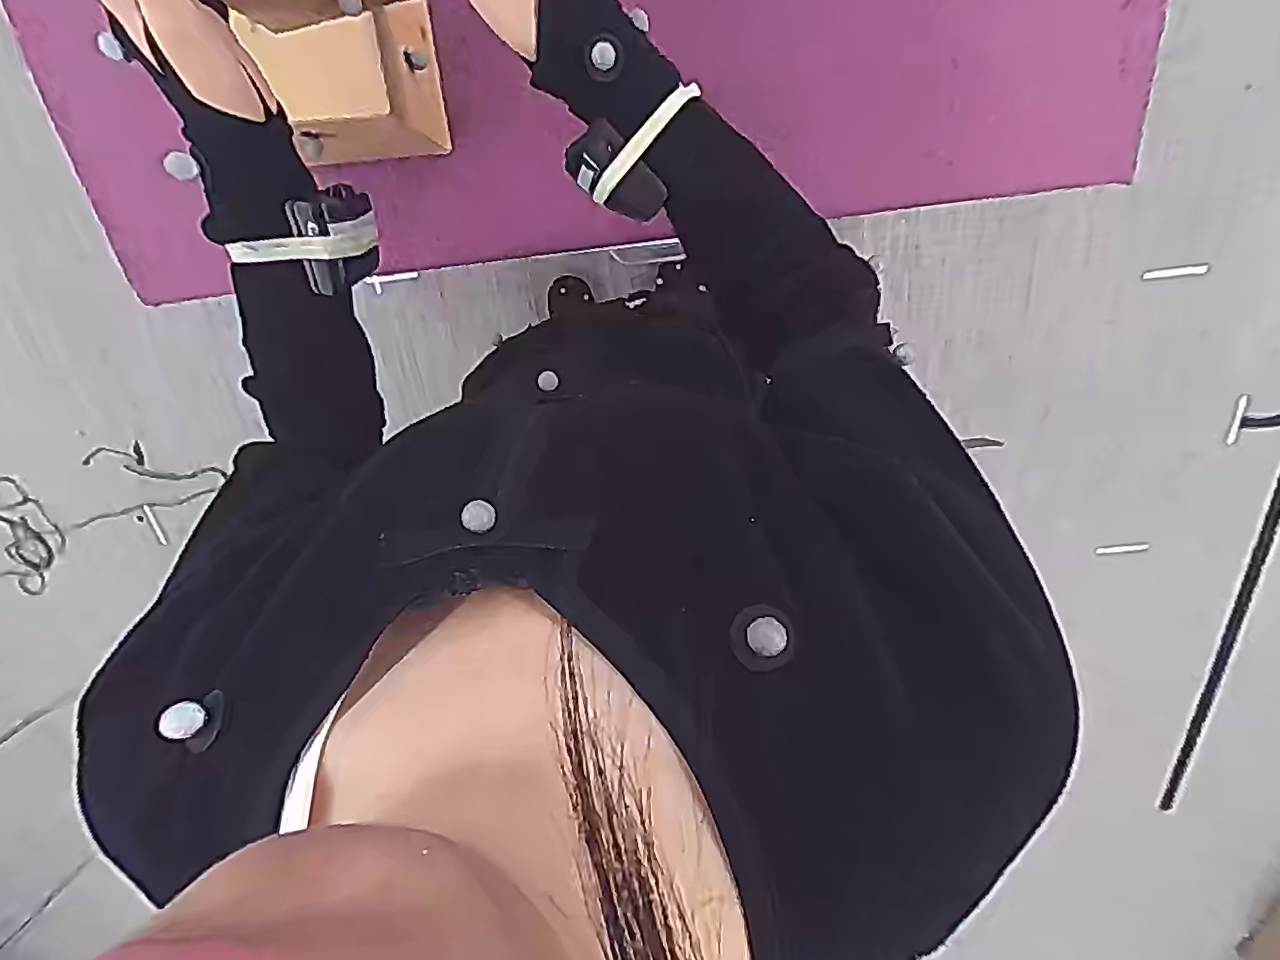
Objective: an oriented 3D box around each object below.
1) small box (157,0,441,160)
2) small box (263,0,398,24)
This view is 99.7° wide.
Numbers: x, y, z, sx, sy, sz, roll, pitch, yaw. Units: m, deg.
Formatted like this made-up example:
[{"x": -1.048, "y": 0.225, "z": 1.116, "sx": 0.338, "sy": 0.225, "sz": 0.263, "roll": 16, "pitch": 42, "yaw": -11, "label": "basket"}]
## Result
[{"x": -0.307, "y": -0.417, "z": 0.517, "sx": 0.179, "sy": 0.176, "sz": 0.168, "roll": -3, "pitch": 112, "yaw": 2, "label": "small box"}, {"x": -0.196, "y": -0.385, "z": 0.279, "sx": 0.168, "sy": 0.176, "sz": 0.179, "roll": -12, "pitch": 116, "yaw": 2, "label": "small box"}]
